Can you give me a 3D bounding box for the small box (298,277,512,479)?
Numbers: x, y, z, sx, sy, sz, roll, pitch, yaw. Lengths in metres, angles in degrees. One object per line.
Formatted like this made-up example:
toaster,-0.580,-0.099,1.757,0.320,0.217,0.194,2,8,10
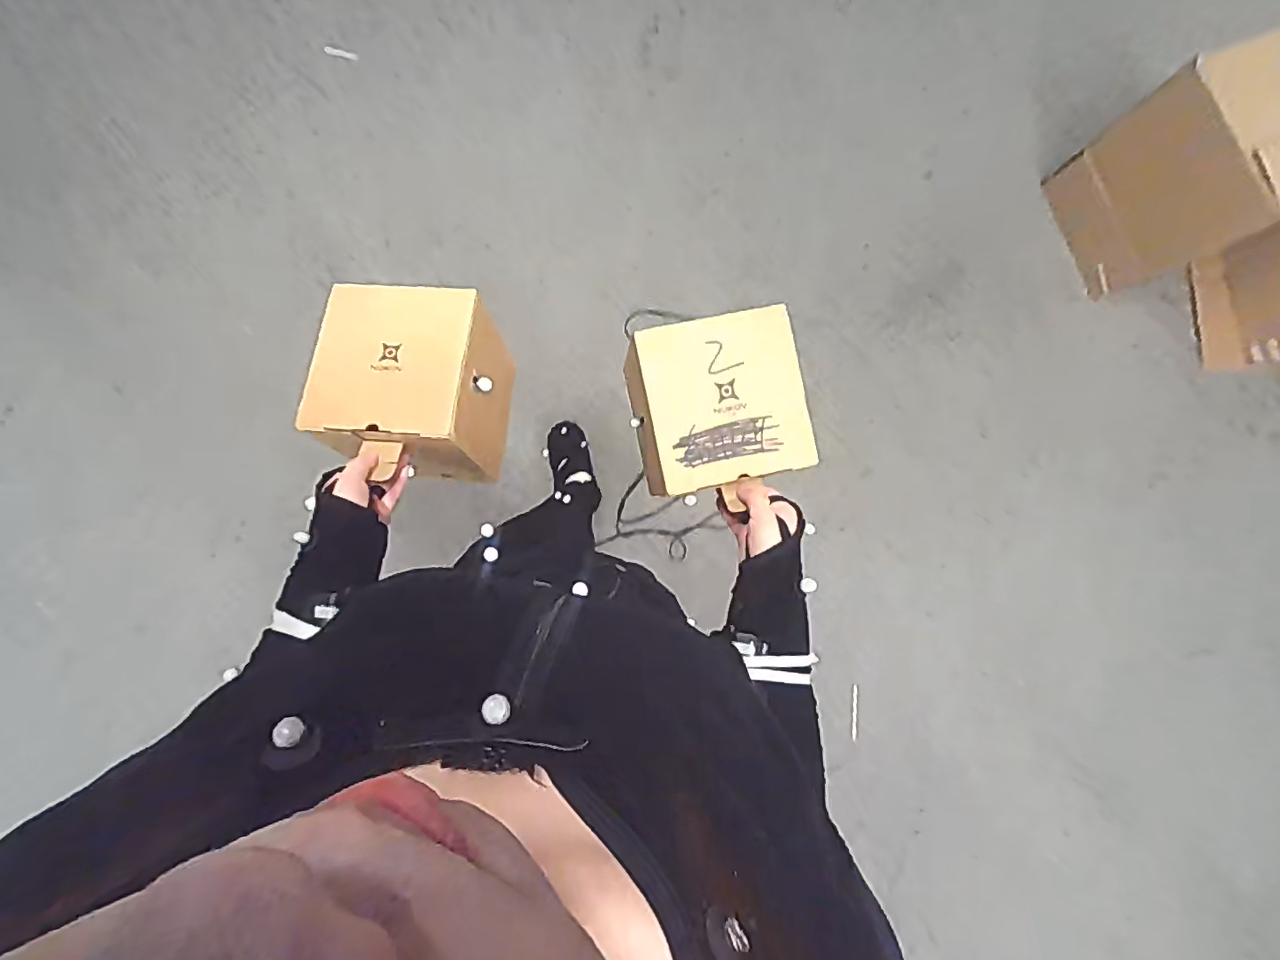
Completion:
small box,-0.260,-0.113,0.649,0.168,0.176,0.179,4,74,3
